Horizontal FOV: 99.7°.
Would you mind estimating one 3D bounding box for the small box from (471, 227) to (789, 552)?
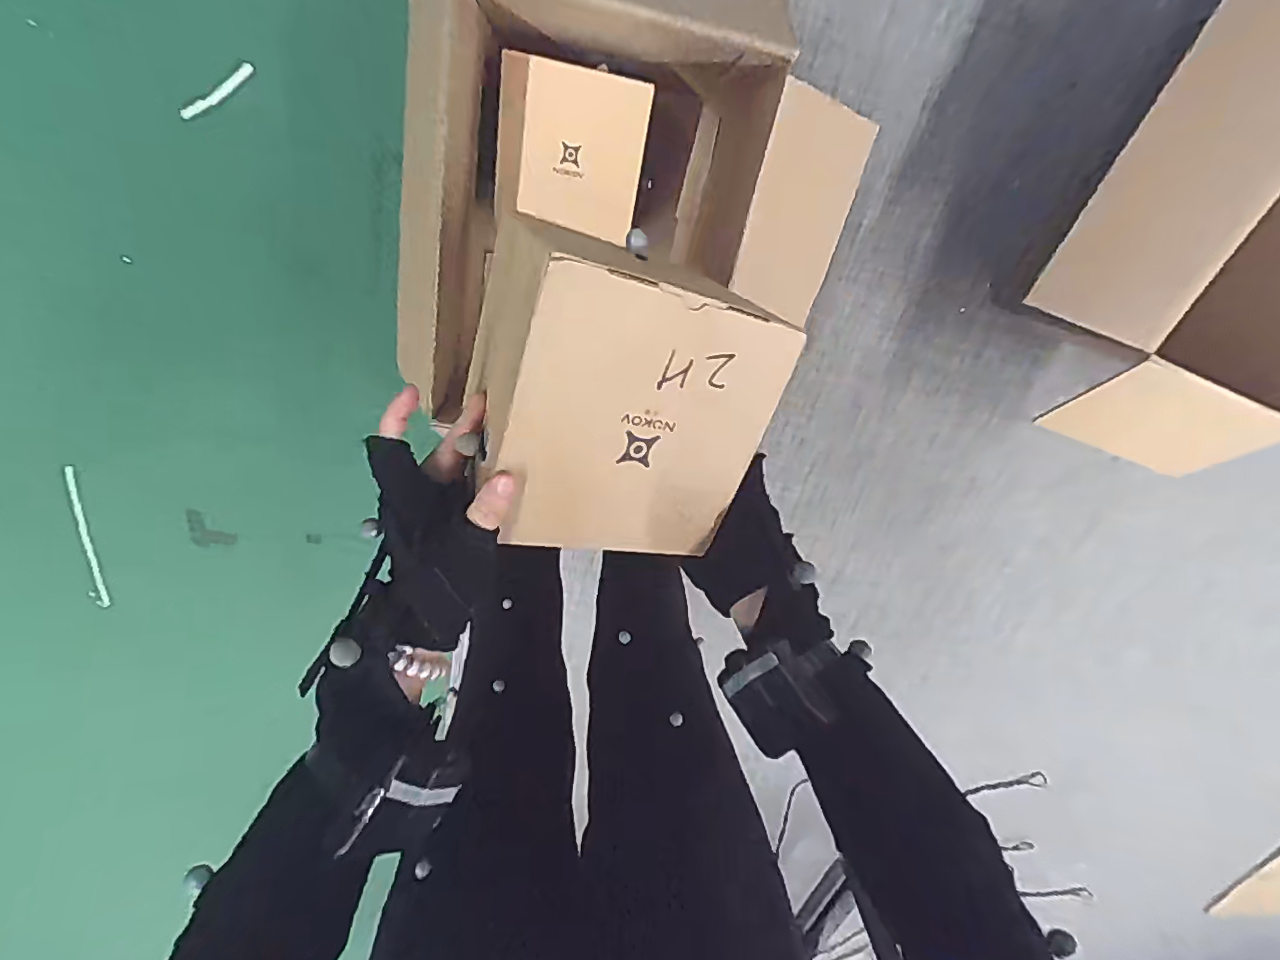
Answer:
[{"bbox_3d":[-0.028,-0.069,0.408,0.168,0.176,0.179,7,117,-26],"label":"small box"}]
